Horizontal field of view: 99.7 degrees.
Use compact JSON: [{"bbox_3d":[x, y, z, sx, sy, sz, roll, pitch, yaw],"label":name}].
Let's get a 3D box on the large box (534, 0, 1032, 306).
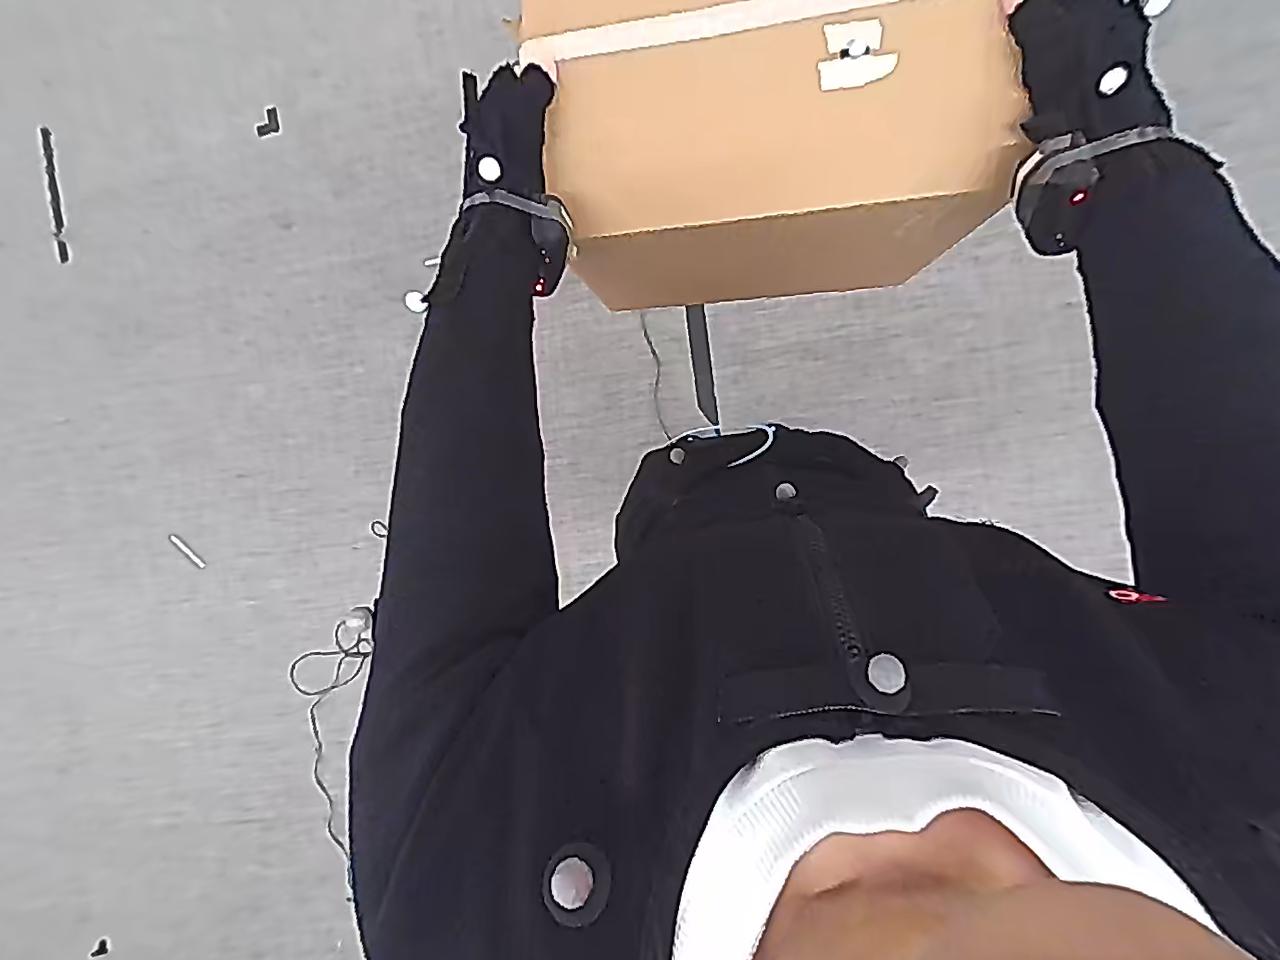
[{"bbox_3d":[0.123,-0.399,0.593,0.408,0.320,0.320,-4,96,7],"label":"large box"}]
